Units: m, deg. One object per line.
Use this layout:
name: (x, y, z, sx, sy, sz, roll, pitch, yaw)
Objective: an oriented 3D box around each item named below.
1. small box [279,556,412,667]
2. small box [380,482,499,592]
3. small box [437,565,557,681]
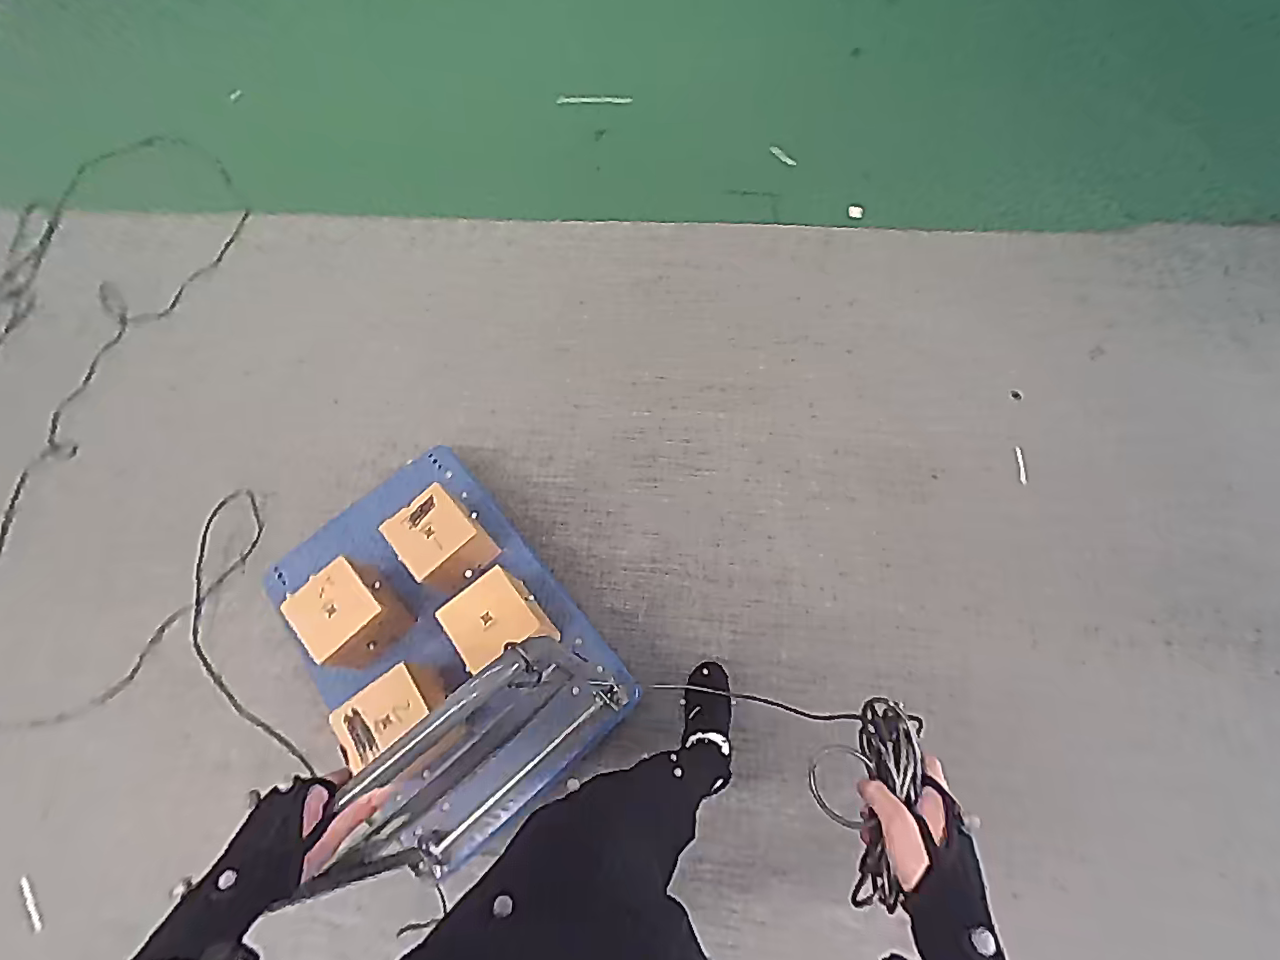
small box: (-0.659, 0.306, 1.232, 0.168, 0.176, 0.179, -42, 69, -13)
small box: (-0.469, 0.142, 1.285, 0.168, 0.176, 0.179, -41, 70, -11)
small box: (-0.308, 0.322, 1.193, 0.168, 0.176, 0.179, -38, 69, -11)
